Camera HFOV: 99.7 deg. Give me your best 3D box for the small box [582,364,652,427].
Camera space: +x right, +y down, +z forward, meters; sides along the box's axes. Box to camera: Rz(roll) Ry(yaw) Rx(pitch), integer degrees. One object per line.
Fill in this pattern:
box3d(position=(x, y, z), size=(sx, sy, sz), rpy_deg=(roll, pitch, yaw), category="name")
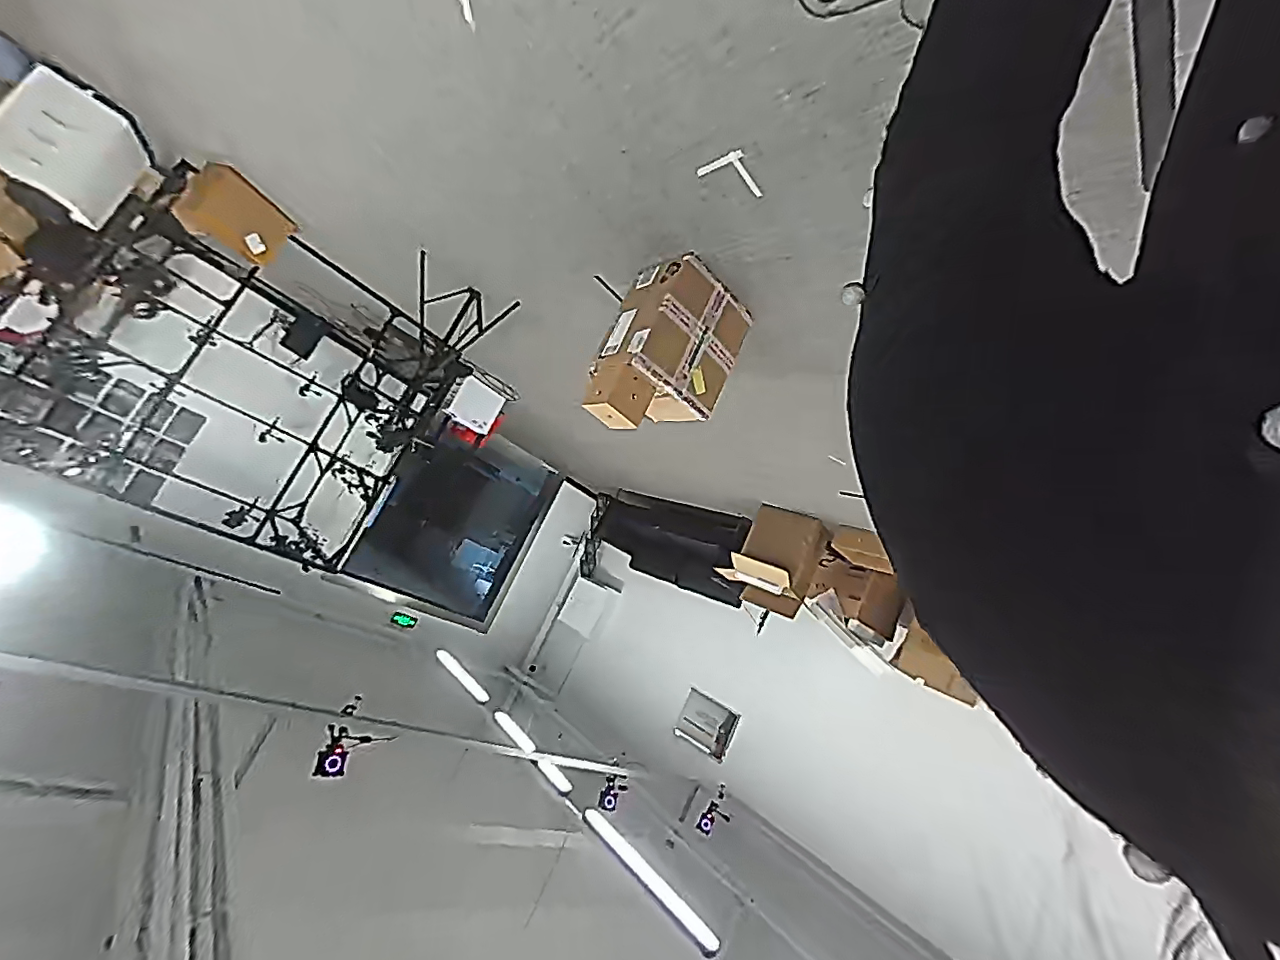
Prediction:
box3d(position=(-0.077, -0.311, 1.987), size=(0.168, 0.176, 0.179), rpy_deg=(36, 162, -34), category="small box")
